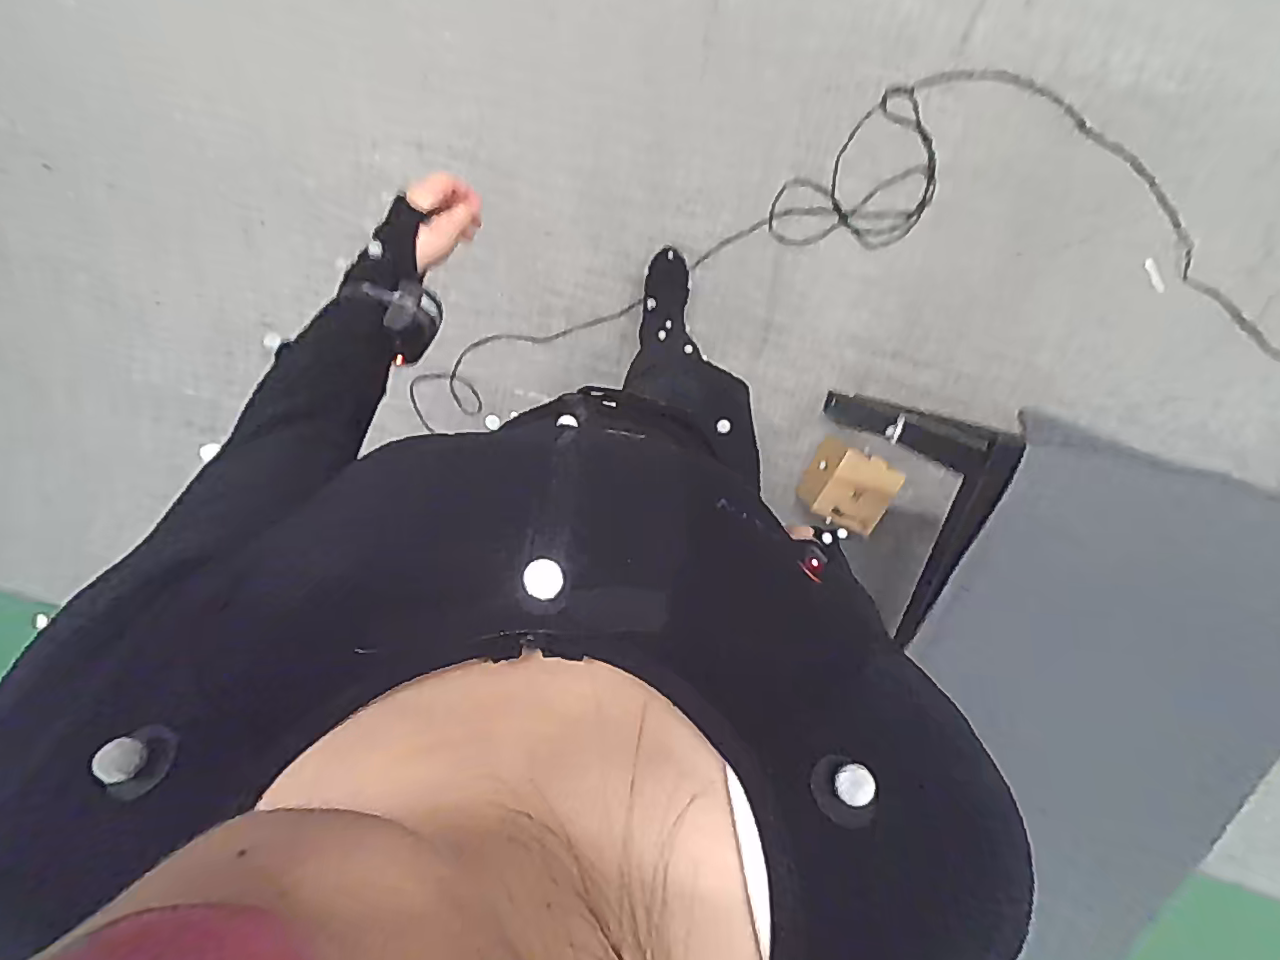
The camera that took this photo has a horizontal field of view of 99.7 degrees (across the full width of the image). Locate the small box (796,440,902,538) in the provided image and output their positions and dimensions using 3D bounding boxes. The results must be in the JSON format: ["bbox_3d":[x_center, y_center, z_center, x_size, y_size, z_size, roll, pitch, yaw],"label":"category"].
[{"bbox_3d":[0.525,0.014,1.390,0.168,0.176,0.179,26,104,-6],"label":"small box"}]
